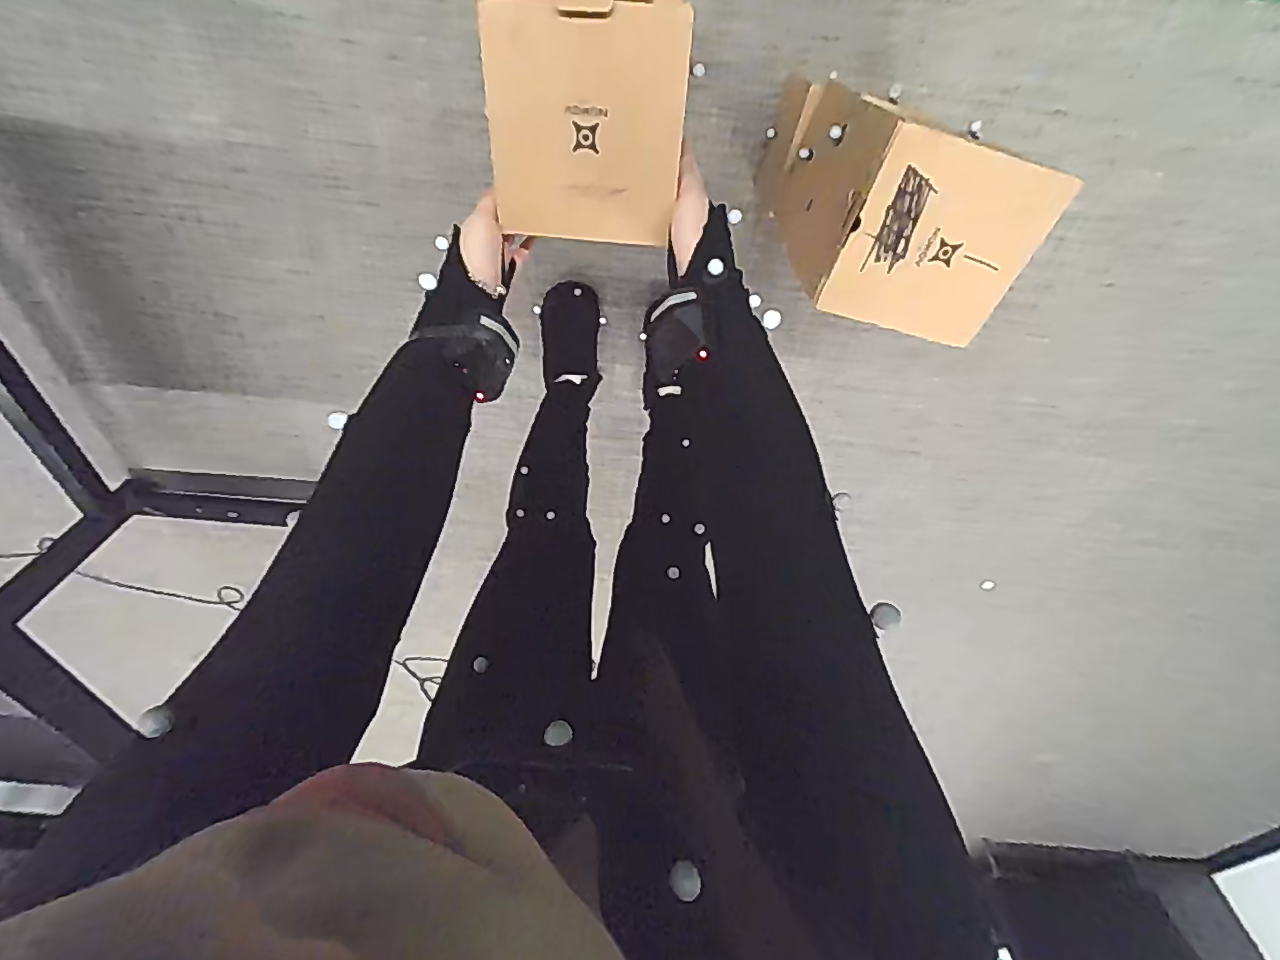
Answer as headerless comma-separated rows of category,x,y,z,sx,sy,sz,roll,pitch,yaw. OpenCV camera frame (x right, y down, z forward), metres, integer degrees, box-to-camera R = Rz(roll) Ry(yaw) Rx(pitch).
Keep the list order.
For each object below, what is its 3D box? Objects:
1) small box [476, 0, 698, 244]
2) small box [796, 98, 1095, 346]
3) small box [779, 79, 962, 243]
small box,-0.039,-0.340,0.503,0.168,0.176,0.179,5,131,1
small box,0.278,-0.265,0.547,0.179,0.176,0.168,12,131,-8
small box,0.291,-0.372,0.671,0.179,0.176,0.168,14,131,-9
